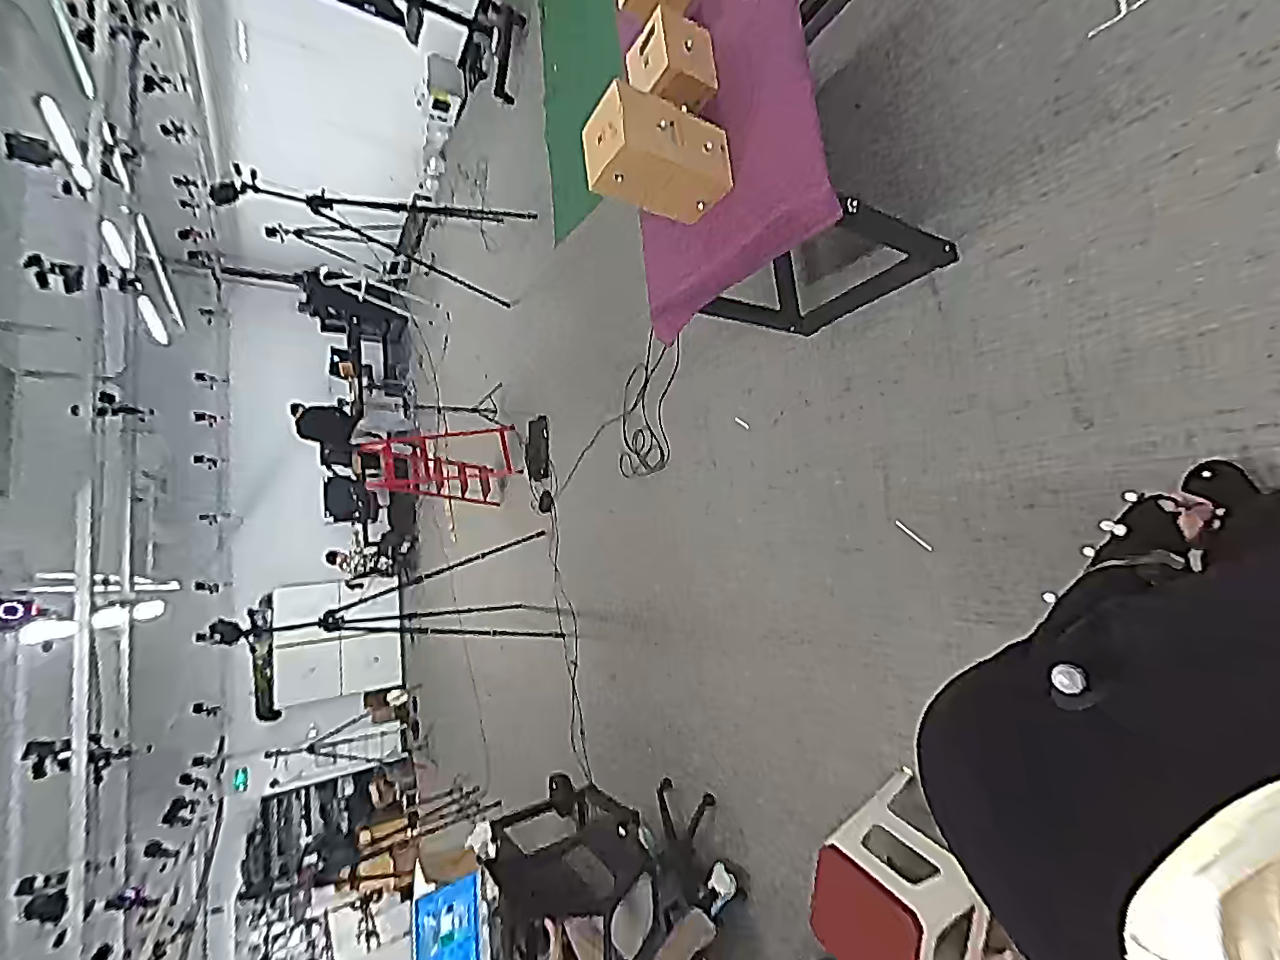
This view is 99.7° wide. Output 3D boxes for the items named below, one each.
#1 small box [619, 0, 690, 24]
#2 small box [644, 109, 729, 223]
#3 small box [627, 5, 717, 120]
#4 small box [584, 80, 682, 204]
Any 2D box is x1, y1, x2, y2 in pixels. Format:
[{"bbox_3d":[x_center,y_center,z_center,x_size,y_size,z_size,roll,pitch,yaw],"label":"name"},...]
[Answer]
[{"bbox_3d":[0.051,-1.412,1.499,0.179,0.176,0.168,-18,76,56],"label":"small box"},{"bbox_3d":[0.118,-0.810,1.413,0.179,0.176,0.168,-19,74,54],"label":"small box"},{"bbox_3d":[0.087,-1.097,1.452,0.168,0.176,0.179,-19,76,55],"label":"small box"},{"bbox_3d":[-0.019,-0.810,1.320,0.179,0.176,0.168,-19,75,54],"label":"small box"}]
